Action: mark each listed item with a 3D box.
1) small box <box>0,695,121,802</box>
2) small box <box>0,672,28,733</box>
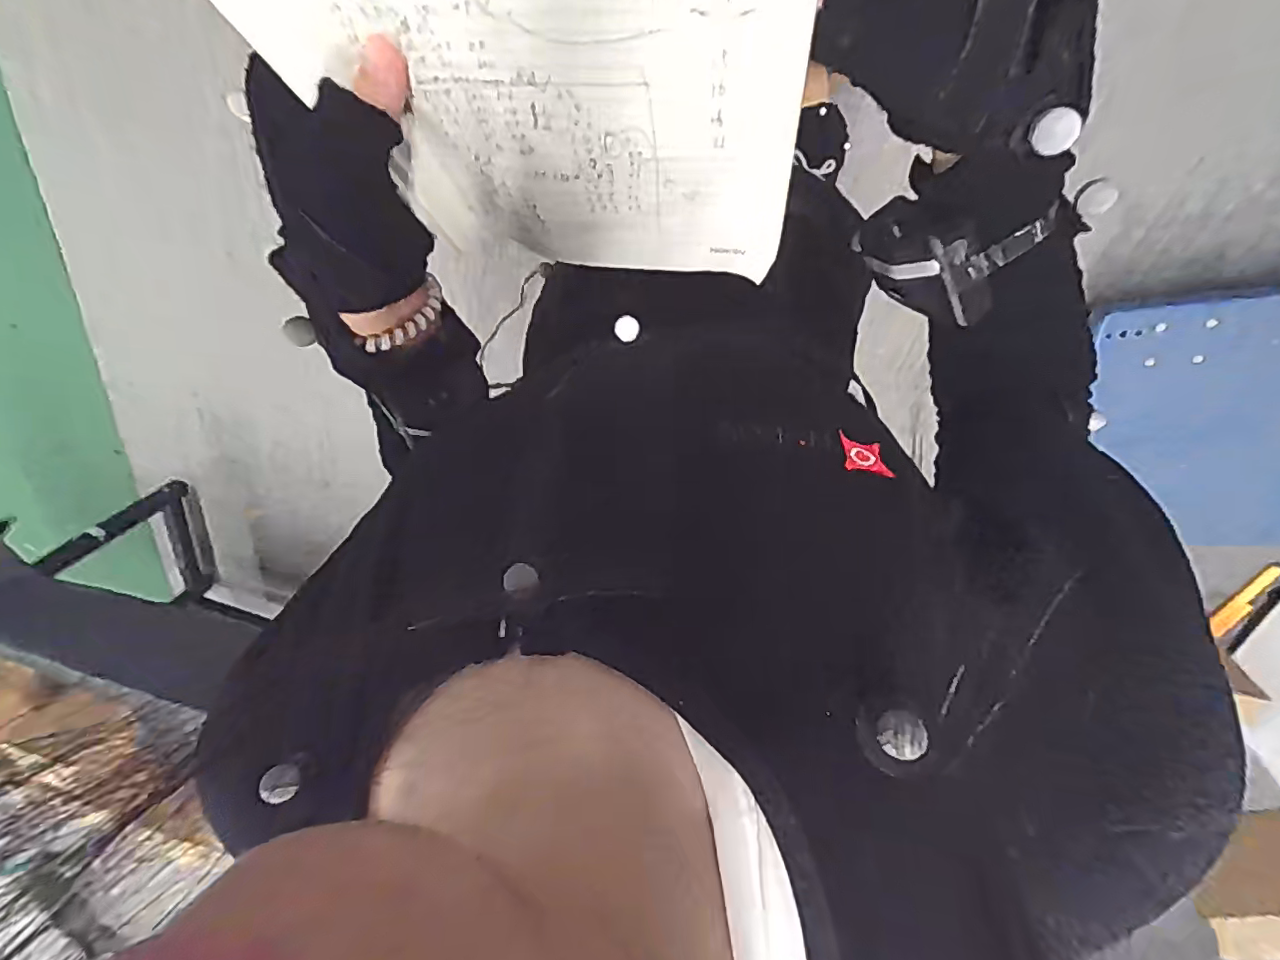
[{"bbox_3d":[-1.502,0.686,1.392,0.179,0.176,0.168,16,123,2],"label":"small box"},{"bbox_3d":[-1.745,0.588,1.381,0.168,0.176,0.179,20,123,-2],"label":"small box"}]
